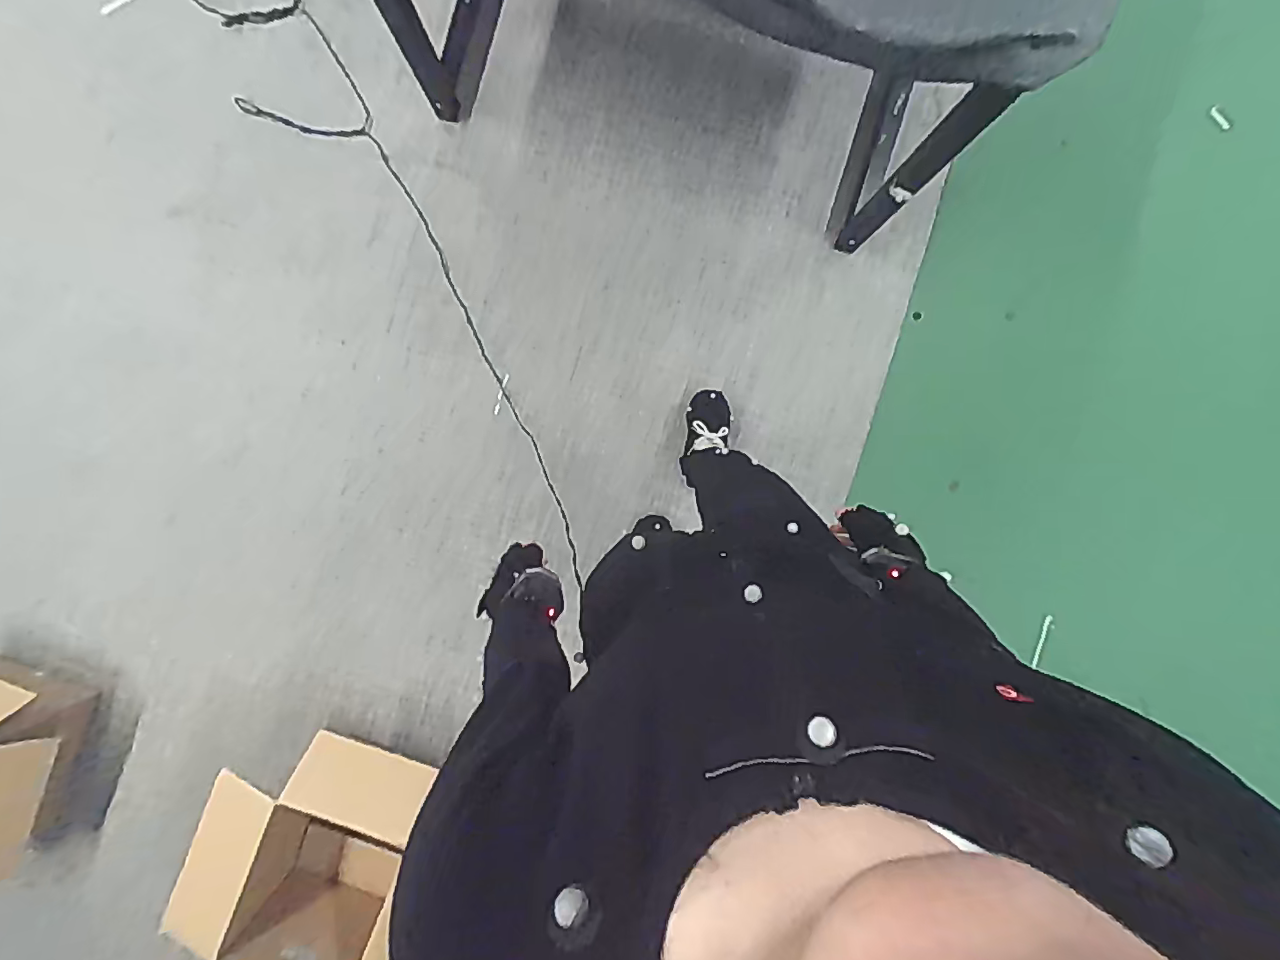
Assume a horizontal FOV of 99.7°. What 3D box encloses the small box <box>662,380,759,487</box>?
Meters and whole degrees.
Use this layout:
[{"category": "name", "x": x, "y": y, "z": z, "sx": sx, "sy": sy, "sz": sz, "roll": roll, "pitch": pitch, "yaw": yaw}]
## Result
[{"category": "small box", "x": 0.172, "y": -0.116, "z": 1.391, "sx": 0.179, "sy": 0.176, "sz": 0.168, "roll": -37, "pitch": 67, "yaw": -23}]
